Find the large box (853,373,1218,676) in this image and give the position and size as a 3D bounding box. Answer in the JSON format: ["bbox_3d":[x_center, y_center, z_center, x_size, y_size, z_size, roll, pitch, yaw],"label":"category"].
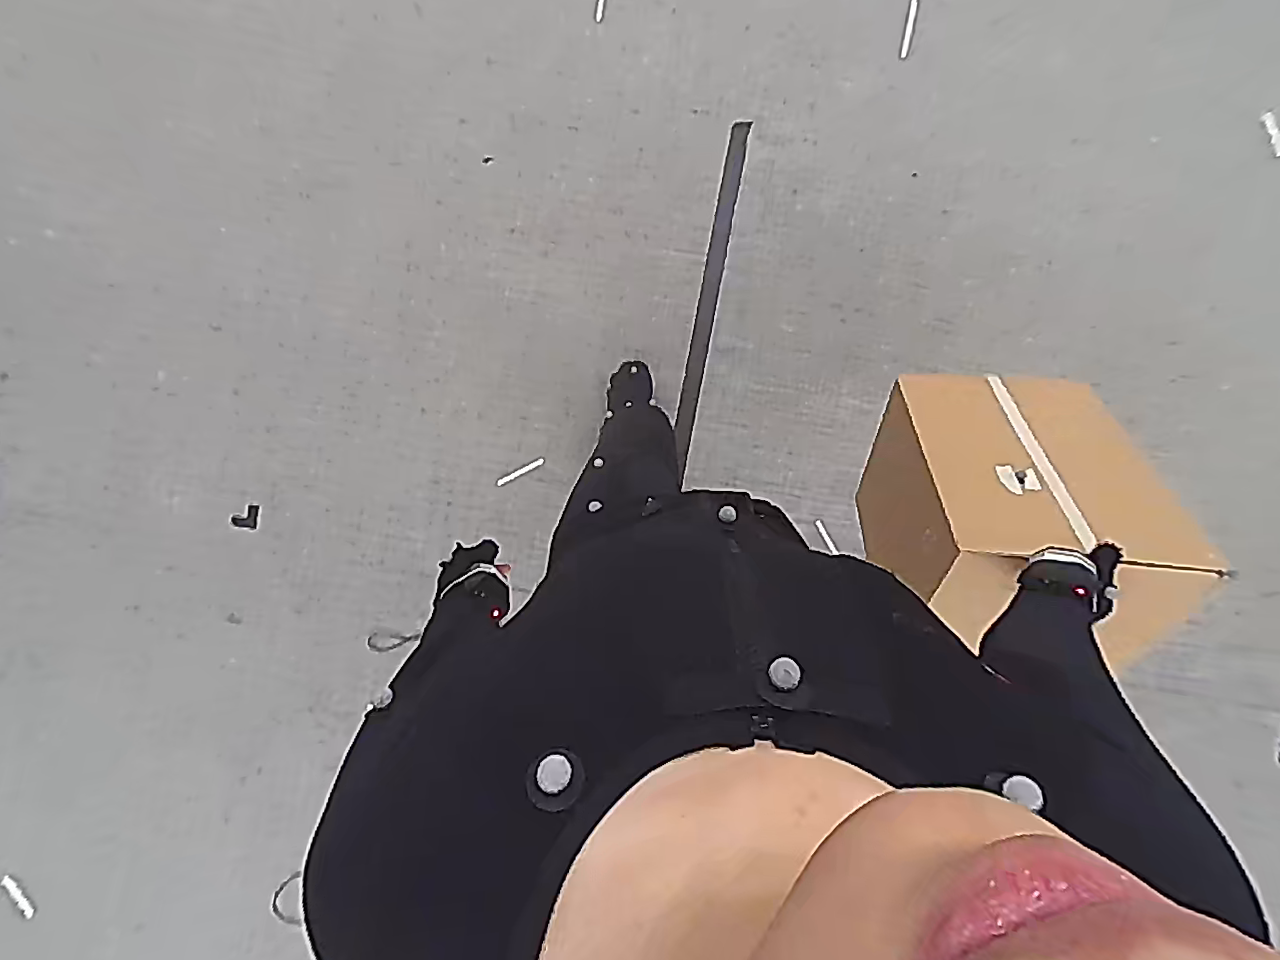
[{"bbox_3d":[0.585,0.065,0.920,0.320,0.408,0.320,3,137,7],"label":"large box"}]
